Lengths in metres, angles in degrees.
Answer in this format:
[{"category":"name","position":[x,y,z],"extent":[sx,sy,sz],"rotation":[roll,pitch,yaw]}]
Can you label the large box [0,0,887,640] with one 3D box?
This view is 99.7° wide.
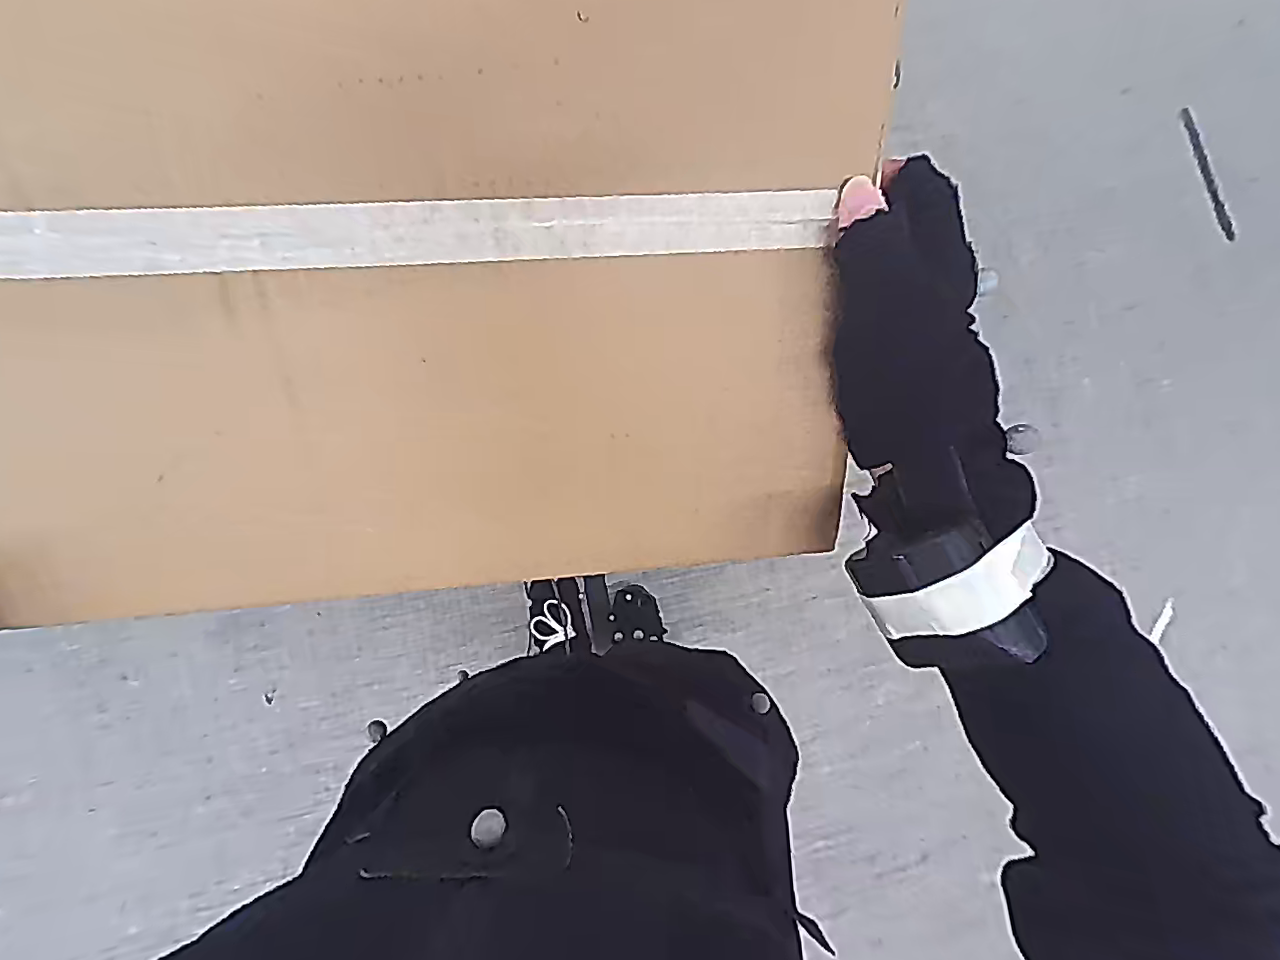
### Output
[{"category":"large box","position":[-0.122,-0.141,0.346],"extent":[0.408,0.320,0.320],"rotation":[-4,114,-6]}]
